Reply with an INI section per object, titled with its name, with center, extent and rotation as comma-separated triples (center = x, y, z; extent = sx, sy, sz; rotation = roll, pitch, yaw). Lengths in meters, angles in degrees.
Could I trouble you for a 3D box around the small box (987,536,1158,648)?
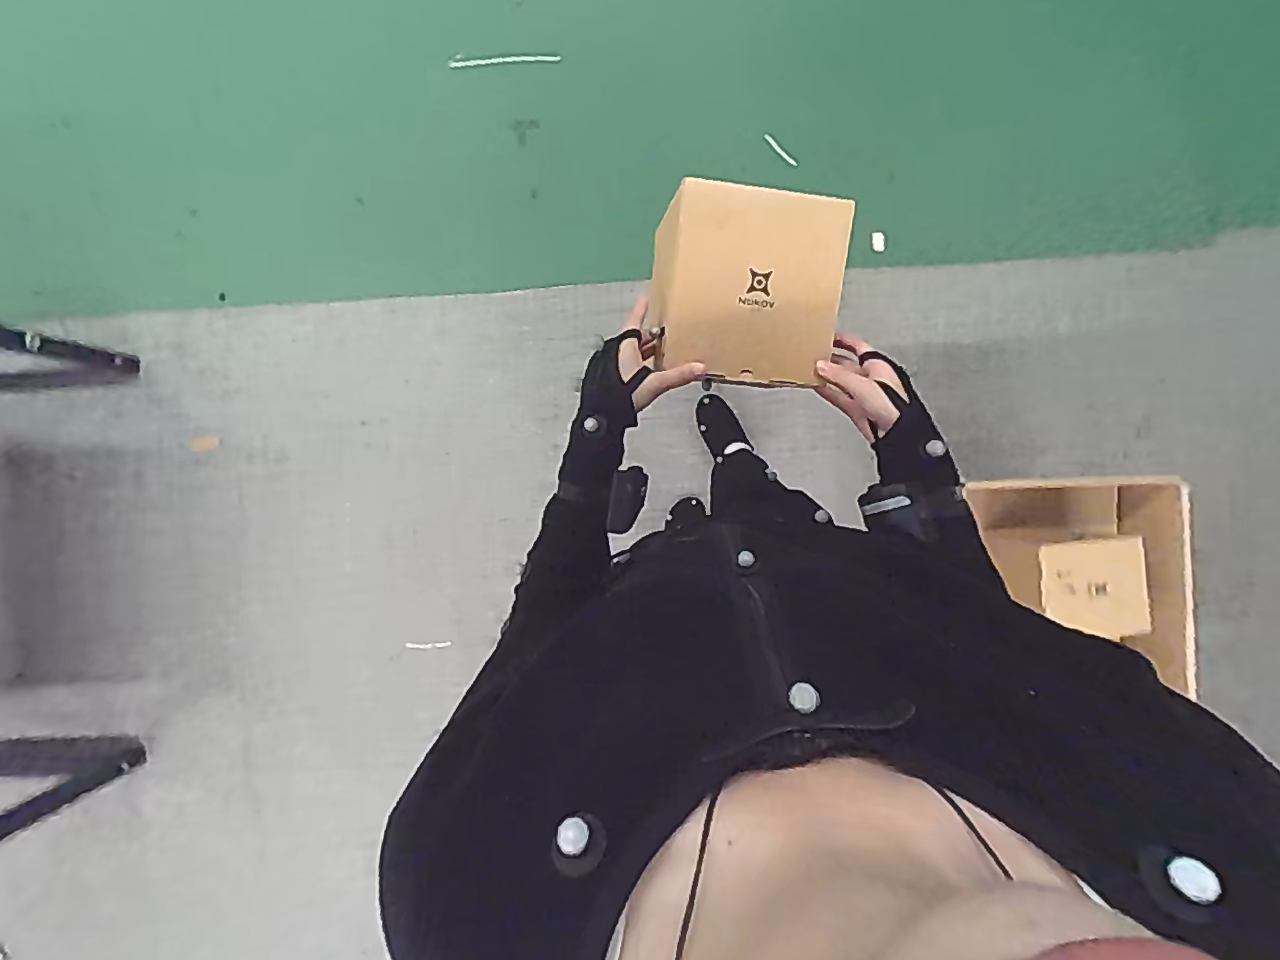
[small box]
center = 0.773, 0.195, 0.981
extent = 0.179, 0.176, 0.168
rotation = -5, 89, 2
